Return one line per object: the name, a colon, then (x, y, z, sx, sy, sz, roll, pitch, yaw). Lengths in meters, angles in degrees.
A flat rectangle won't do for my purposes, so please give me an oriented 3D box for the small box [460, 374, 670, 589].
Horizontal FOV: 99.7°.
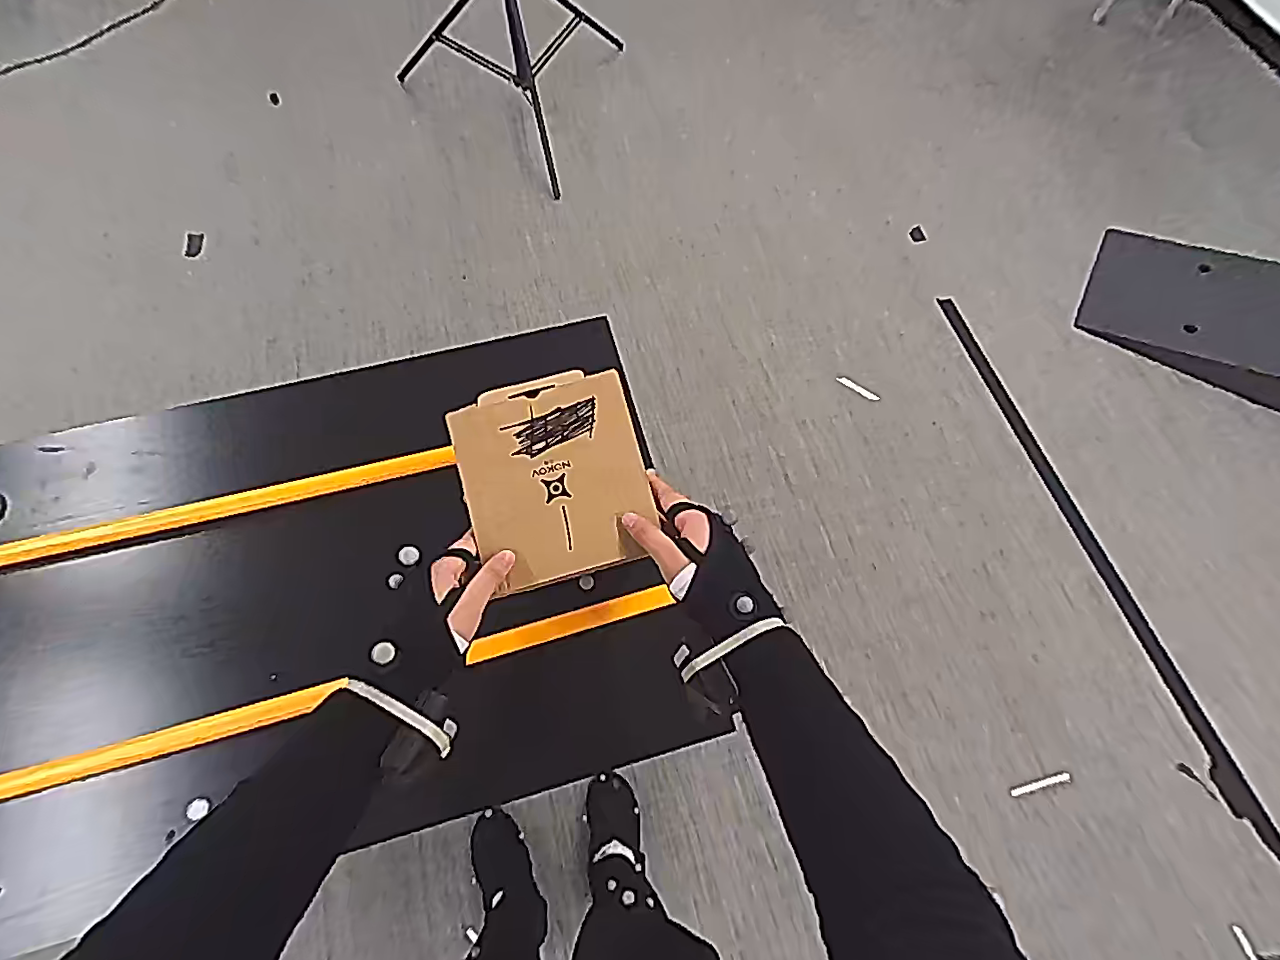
small box: (-0.074, 0.012, 0.581, 0.168, 0.176, 0.179, -15, 81, -3)
